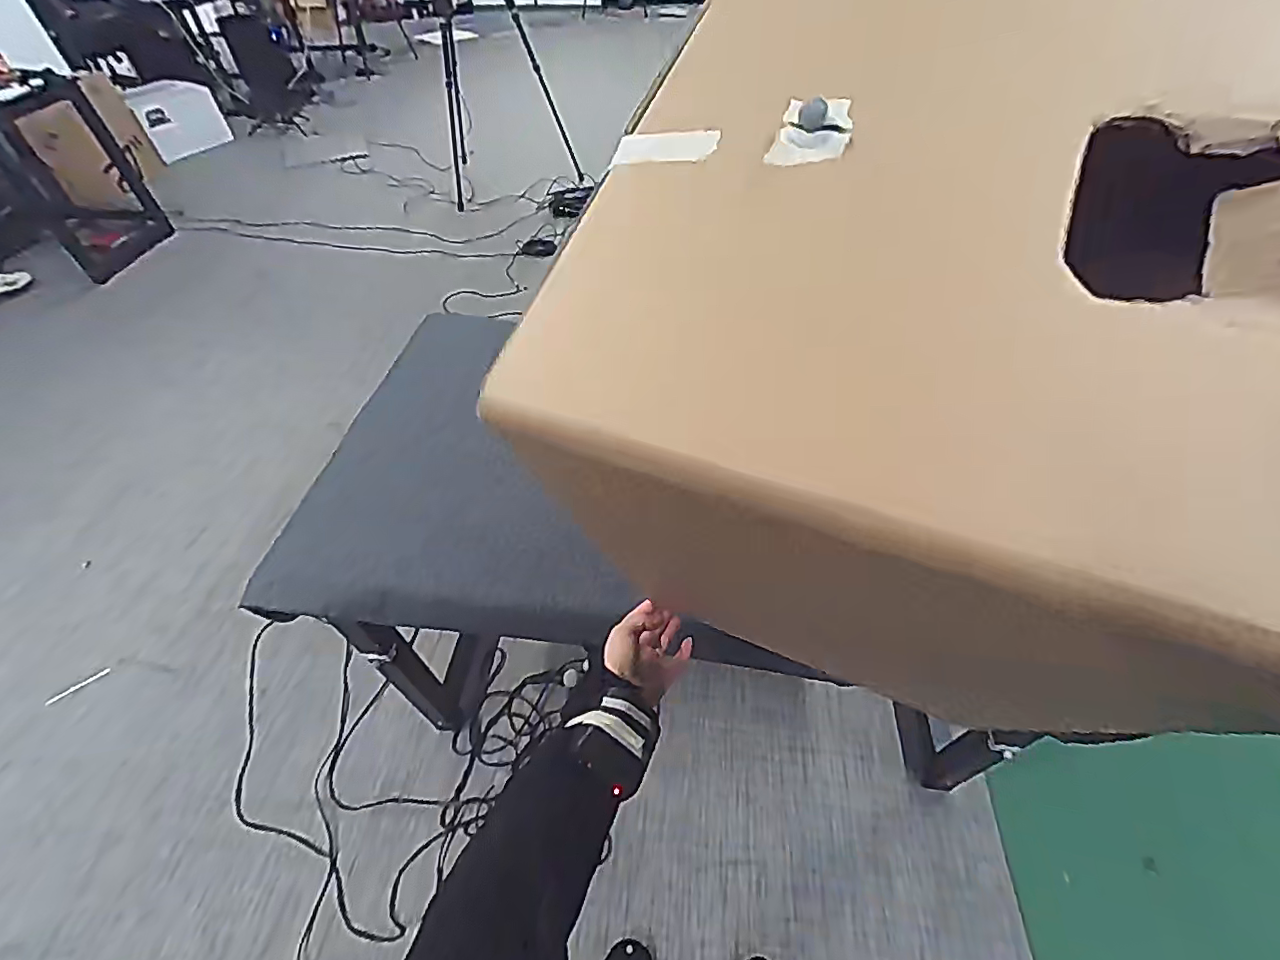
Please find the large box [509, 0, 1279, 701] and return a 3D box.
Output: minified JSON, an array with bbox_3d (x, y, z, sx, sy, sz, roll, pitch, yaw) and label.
[{"bbox_3d":[0.163,-0.045,0.413,0.320,0.408,0.320,18,72,18],"label":"large box"}]
